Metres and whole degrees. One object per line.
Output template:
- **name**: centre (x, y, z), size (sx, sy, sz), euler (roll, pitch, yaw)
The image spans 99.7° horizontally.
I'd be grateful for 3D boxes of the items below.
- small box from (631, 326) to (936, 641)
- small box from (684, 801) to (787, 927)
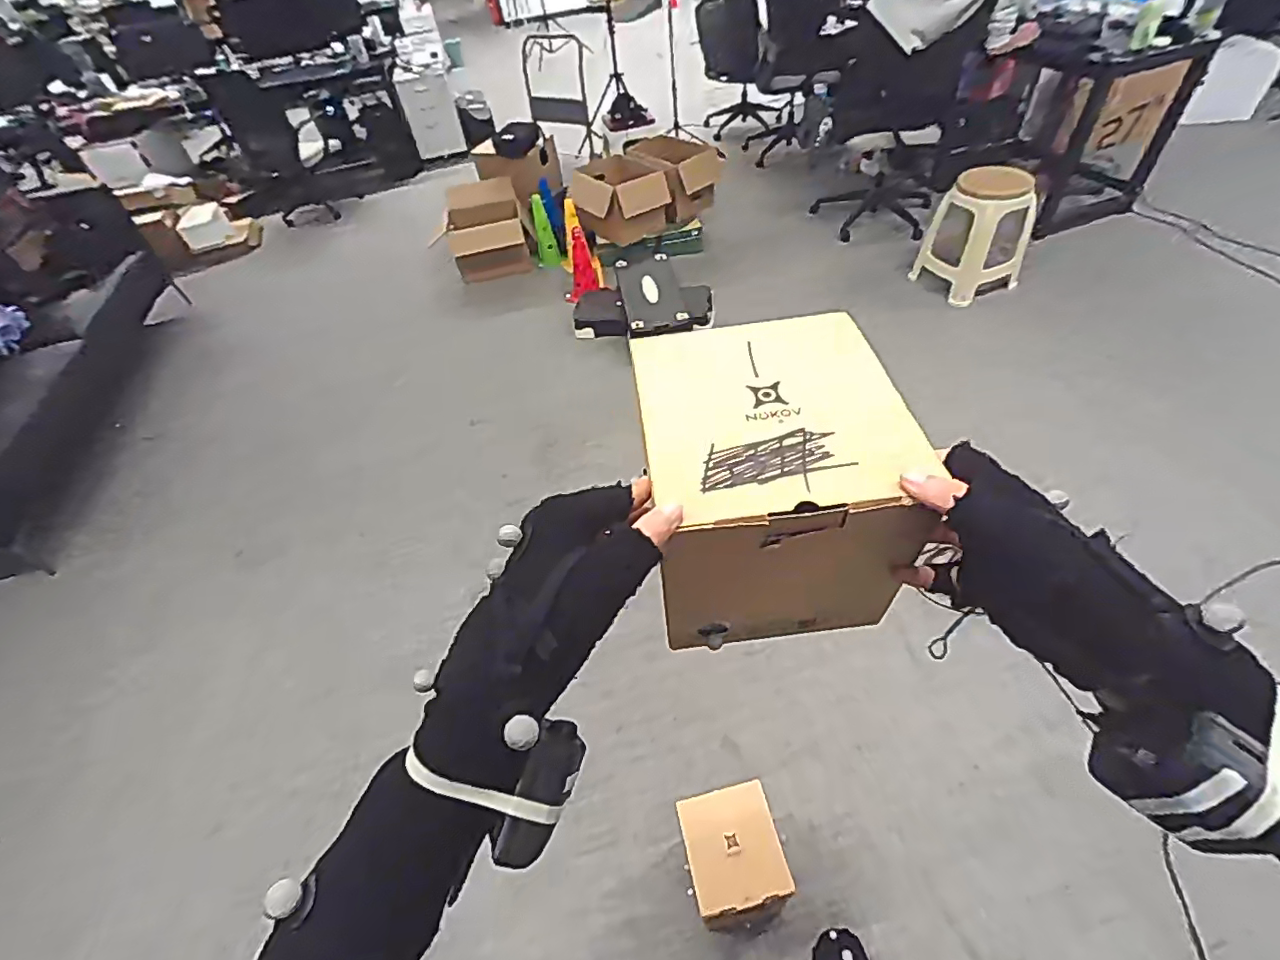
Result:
- **small box**: centre (0.088, 0.011, 0.417), size (0.168, 0.176, 0.179), euler (-7, 49, 0)
- **small box**: centre (0.194, 0.808, 1.136), size (0.168, 0.176, 0.179), euler (-13, 48, -2)
